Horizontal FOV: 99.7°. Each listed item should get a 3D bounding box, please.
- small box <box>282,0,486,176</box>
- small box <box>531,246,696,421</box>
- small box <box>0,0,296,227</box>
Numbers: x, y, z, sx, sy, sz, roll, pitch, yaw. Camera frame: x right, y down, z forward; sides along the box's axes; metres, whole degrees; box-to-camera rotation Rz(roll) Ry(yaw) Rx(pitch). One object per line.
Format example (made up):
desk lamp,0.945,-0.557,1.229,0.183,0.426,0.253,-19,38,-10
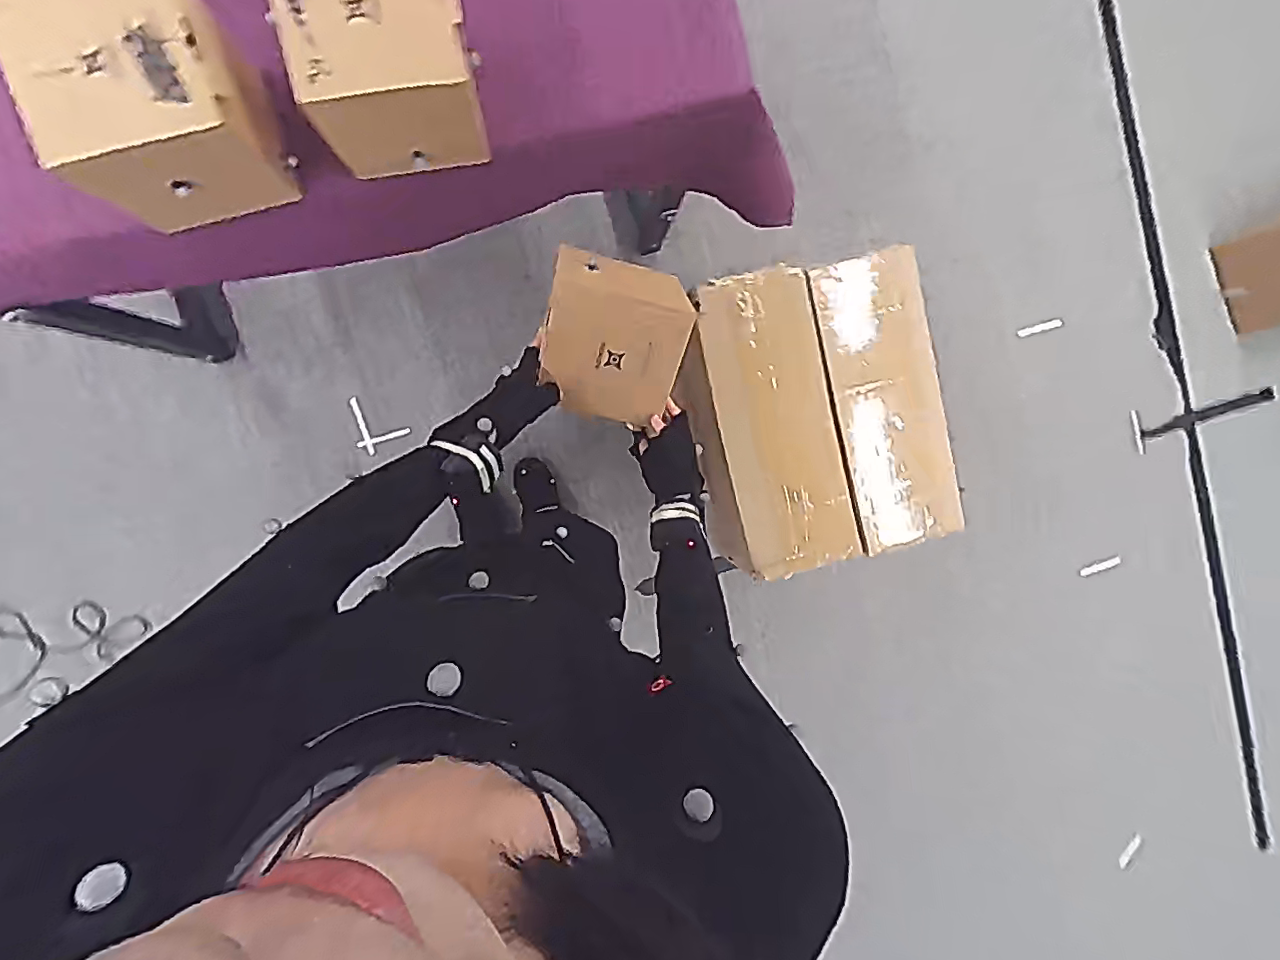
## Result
small box,-0.286,-0.489,0.636,0.179,0.176,0.168,-12,95,-8
small box,-0.045,-0.204,0.736,0.179,0.176,0.168,9,123,-14
small box,-0.524,-0.414,0.606,0.179,0.176,0.168,-18,95,-5
